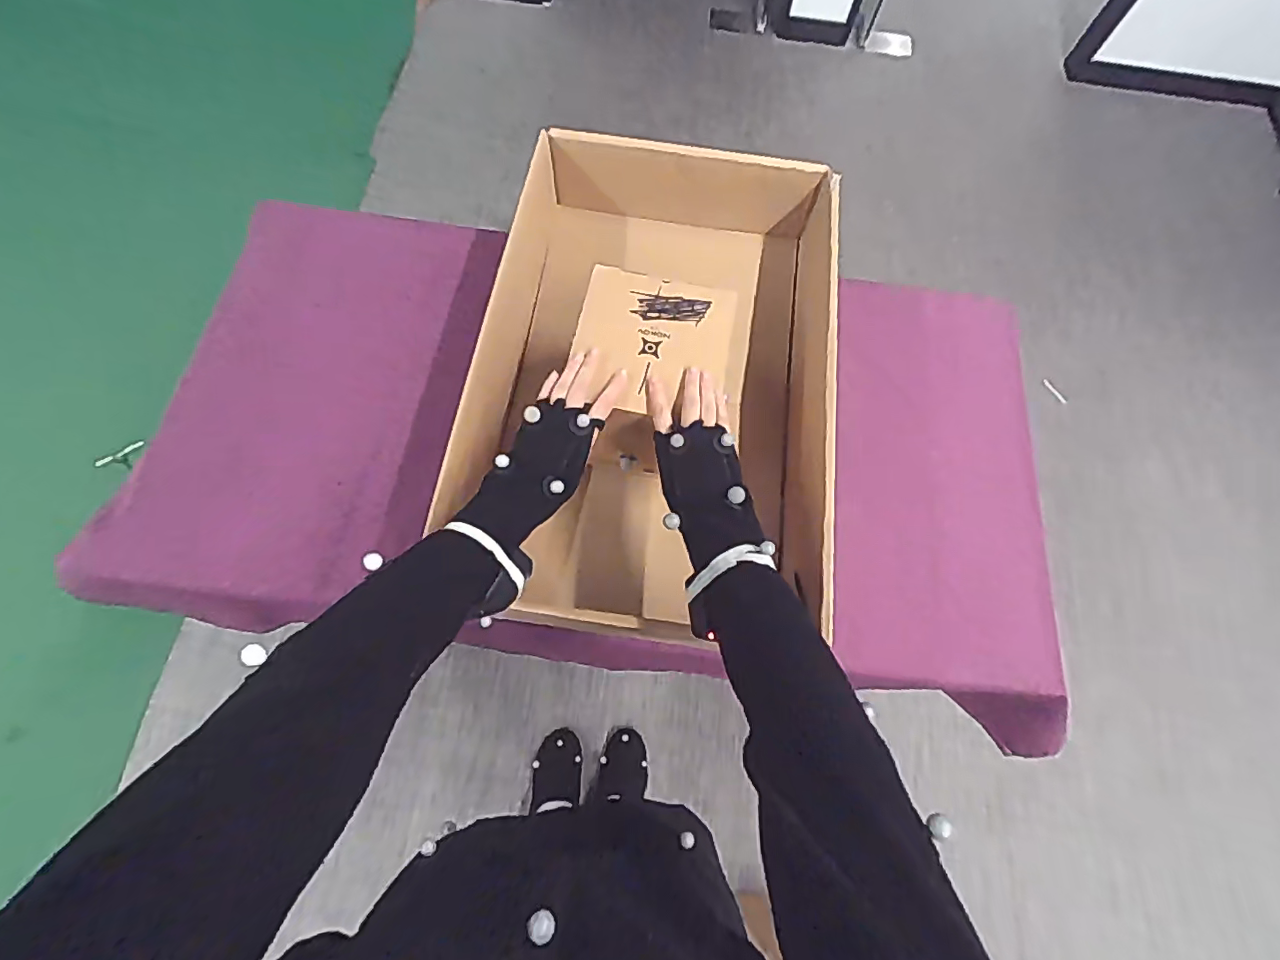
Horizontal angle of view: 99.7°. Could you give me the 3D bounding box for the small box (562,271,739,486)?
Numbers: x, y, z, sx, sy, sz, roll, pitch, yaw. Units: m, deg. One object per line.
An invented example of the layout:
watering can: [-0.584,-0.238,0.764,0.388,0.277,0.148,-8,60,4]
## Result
small box: [0.011,-0.112,0.648,0.168,0.176,0.179,11,70,1]

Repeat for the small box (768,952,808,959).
small box: [0.282,0.844,0.795,0.168,0.176,0.179,9,69,0]
